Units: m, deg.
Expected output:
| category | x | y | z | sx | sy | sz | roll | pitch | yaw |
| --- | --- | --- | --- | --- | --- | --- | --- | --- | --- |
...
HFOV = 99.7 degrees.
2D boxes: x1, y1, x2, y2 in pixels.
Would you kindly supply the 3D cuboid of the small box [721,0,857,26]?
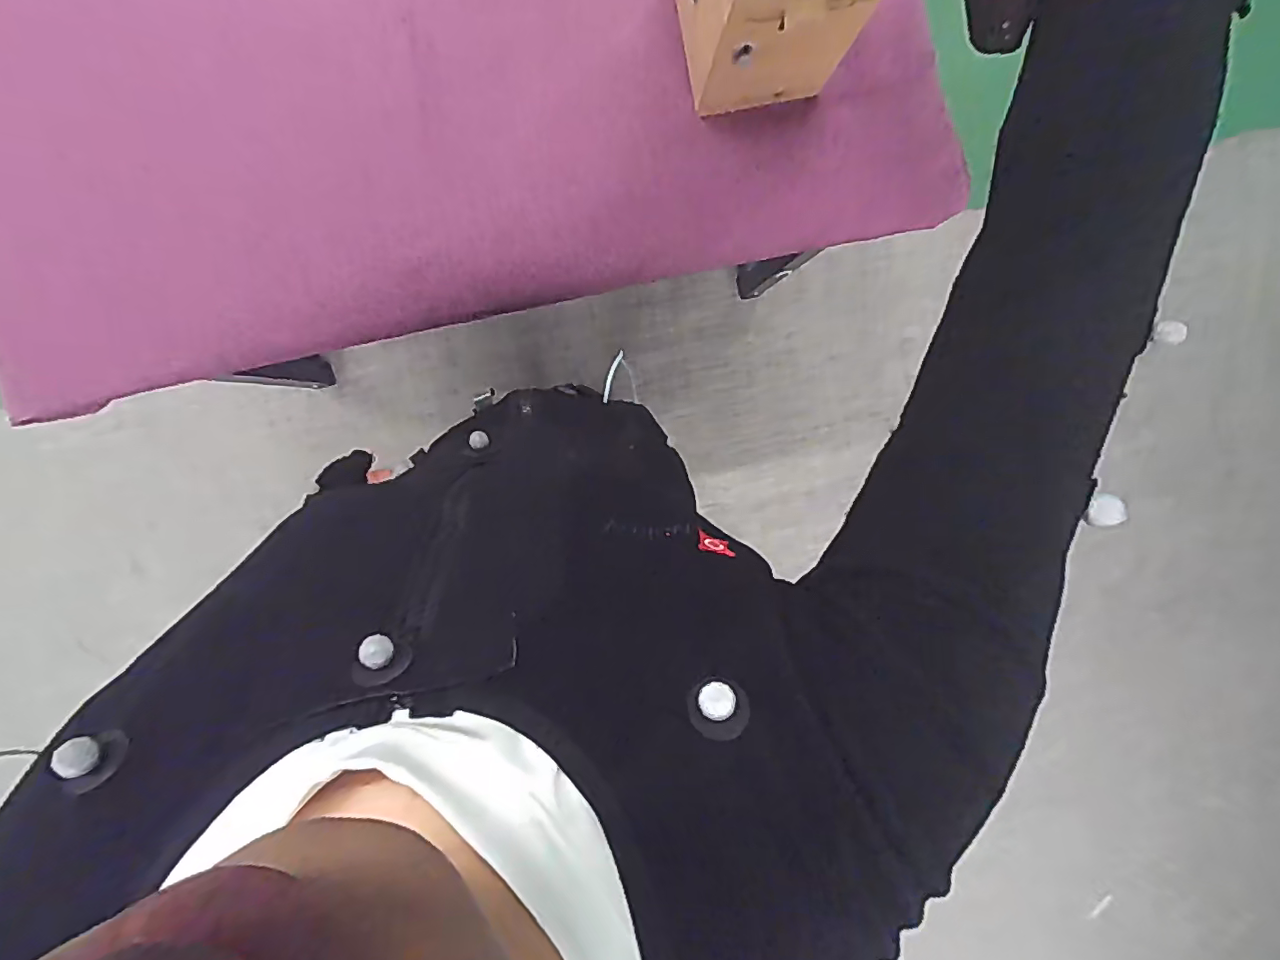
| category | x | y | z | sx | sy | sz | roll | pitch | yaw |
| --- | --- | --- | --- | --- | --- | --- | --- | --- | --- |
| small box | 0.147 | -0.542 | 0.449 | 0.168 | 0.176 | 0.179 | -16 | 98 | -2 |
